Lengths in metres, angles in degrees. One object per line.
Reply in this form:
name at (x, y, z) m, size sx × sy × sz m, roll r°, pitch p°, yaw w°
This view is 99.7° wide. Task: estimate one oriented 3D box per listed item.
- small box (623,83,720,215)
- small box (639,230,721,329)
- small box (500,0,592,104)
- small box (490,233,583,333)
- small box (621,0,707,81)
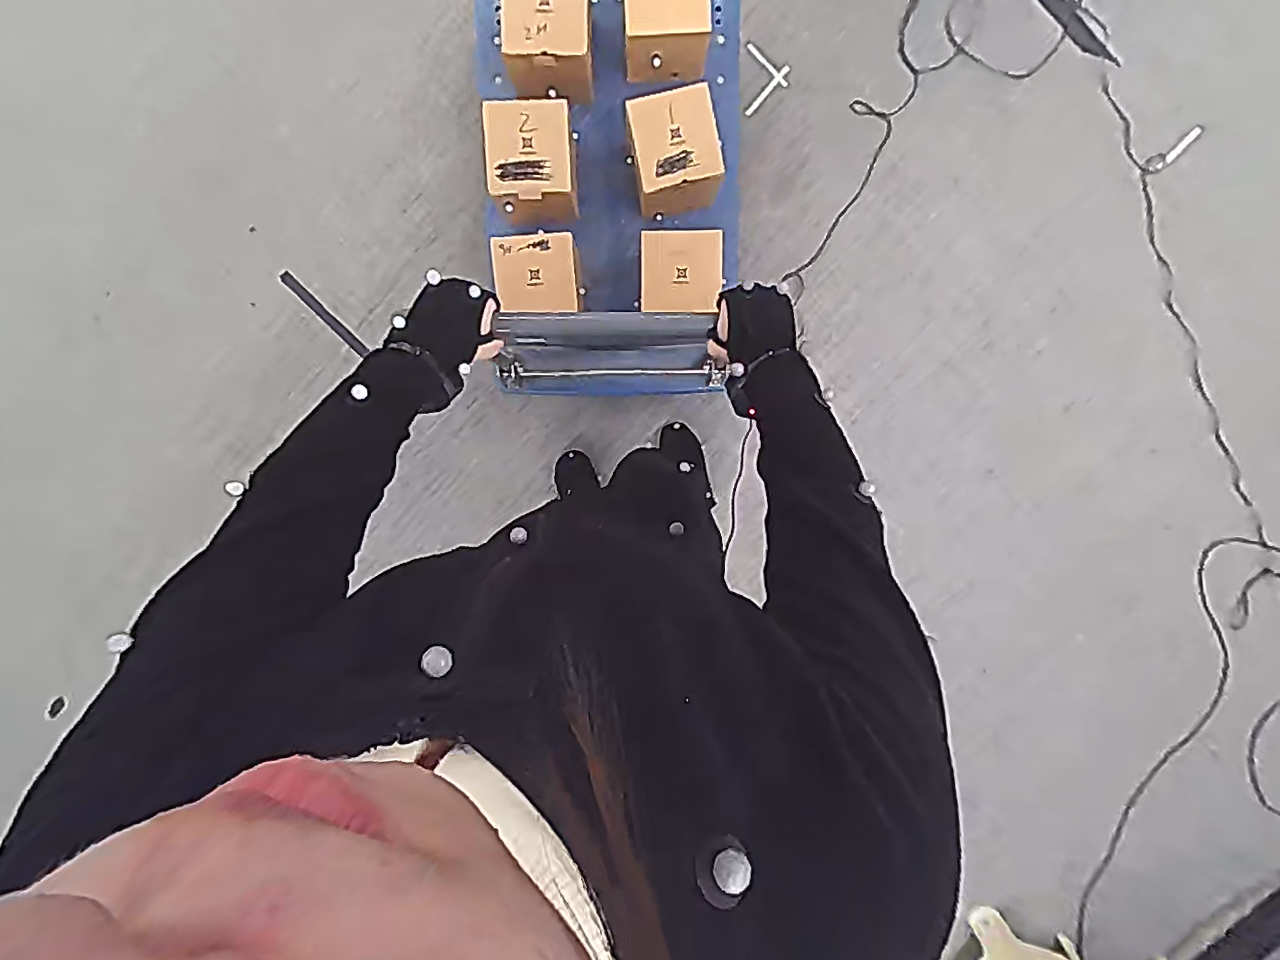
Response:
small box at (0.065, -0.684, 1.143) m, size 0.168 × 0.176 × 0.179 m, roll -13°, pitch 97°, yaw 1°
small box at (0.082, -0.428, 1.179) m, size 0.168 × 0.176 × 0.179 m, roll -1°, pitch 97°, yaw -1°
small box at (-0.187, -0.912, 1.107) m, size 0.168 × 0.176 × 0.179 m, roll 1°, pitch 99°, yaw -1°
small box at (-0.216, -0.418, 1.175) m, size 0.168 × 0.176 × 0.179 m, roll -4°, pitch 98°, yaw -1°
small box at (0.045, -0.953, 1.107) m, size 0.168 × 0.176 × 0.179 m, roll -4°, pitch 98°, yaw 0°
